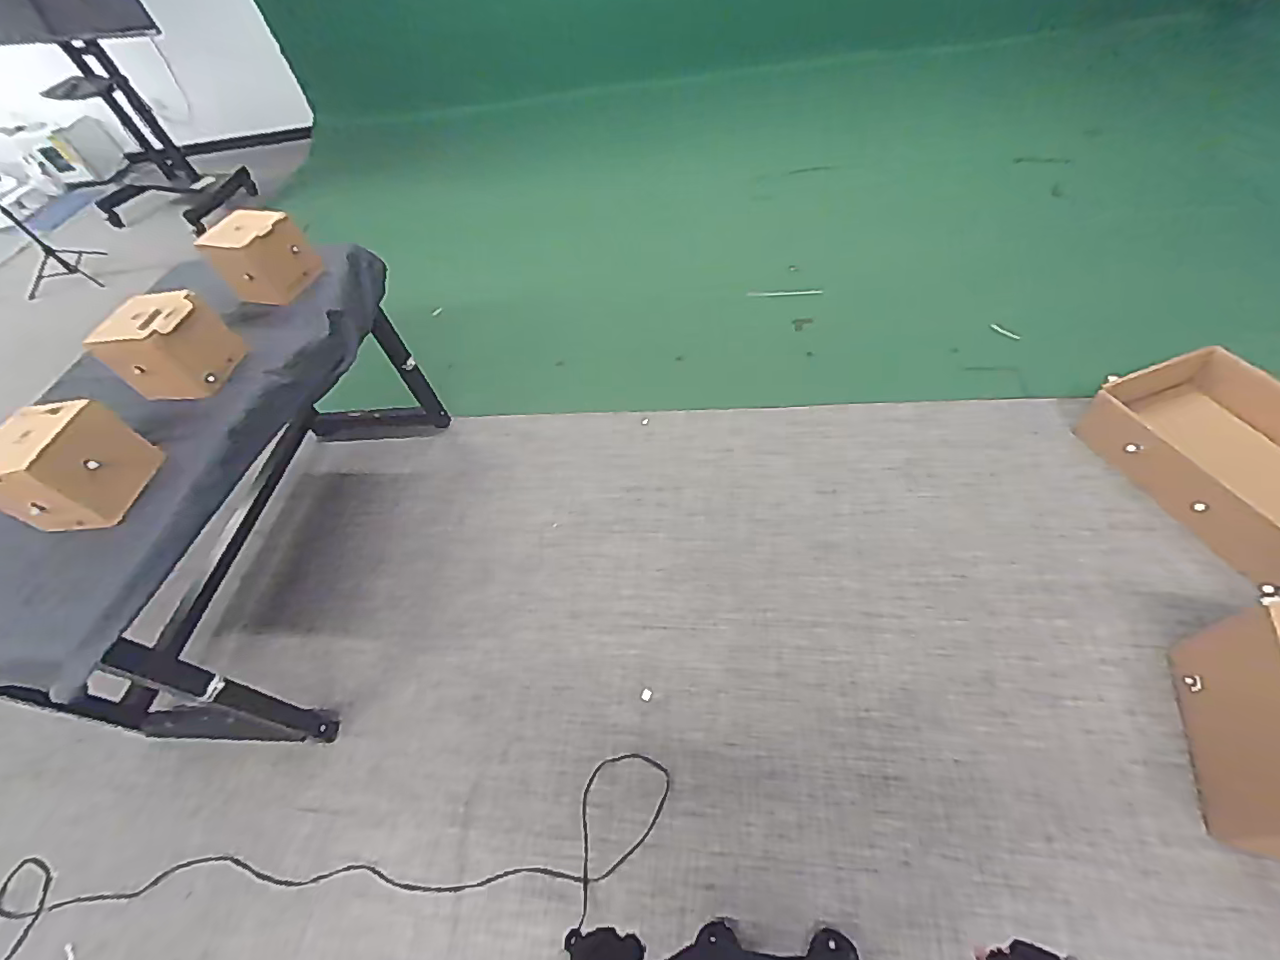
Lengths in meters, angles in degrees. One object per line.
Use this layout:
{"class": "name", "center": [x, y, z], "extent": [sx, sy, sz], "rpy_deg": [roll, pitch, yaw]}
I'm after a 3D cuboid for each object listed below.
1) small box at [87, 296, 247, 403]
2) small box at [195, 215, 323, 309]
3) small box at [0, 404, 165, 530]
{"class": "small box", "center": [-1.050, -0.290, 1.220], "extent": [0.179, 0.176, 0.168], "rpy_deg": [-1, 54, 12]}
{"class": "small box", "center": [-0.985, -0.569, 1.417], "extent": [0.179, 0.176, 0.168], "rpy_deg": [9, 55, 19]}
{"class": "small box", "center": [-1.065, -0.017, 1.017], "extent": [0.168, 0.176, 0.179], "rpy_deg": [-5, 53, 9]}
